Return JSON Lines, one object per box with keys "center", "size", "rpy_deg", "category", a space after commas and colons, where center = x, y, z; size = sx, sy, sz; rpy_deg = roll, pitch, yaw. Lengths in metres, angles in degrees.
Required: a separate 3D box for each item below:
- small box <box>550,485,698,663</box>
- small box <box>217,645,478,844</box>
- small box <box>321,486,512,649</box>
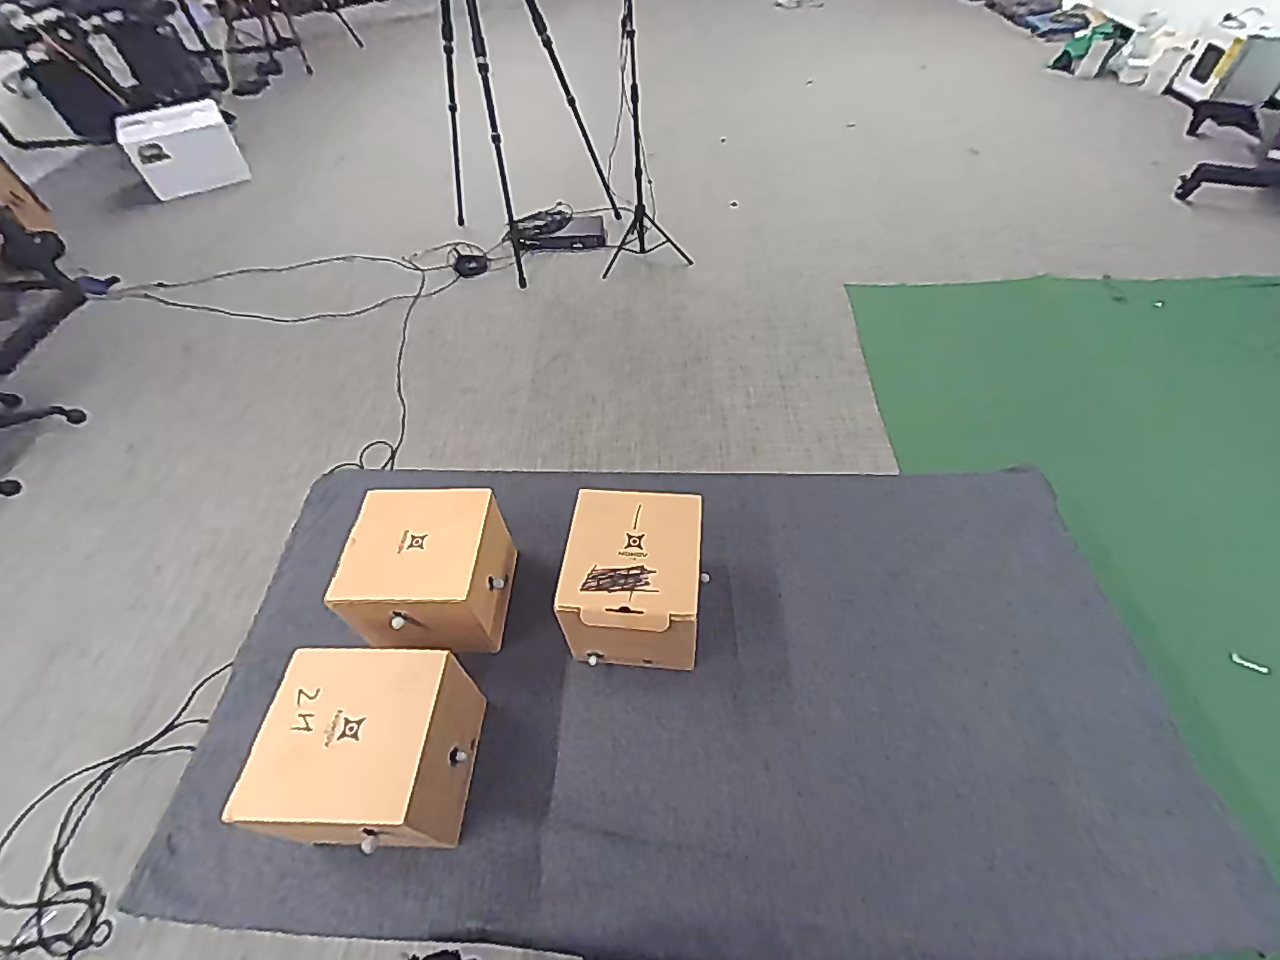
{"center": [-0.010, 0.129, 0.722], "size": [0.168, 0.176, 0.179], "rpy_deg": [3, 52, 6], "category": "small box"}
{"center": [-0.298, 0.297, 0.604], "size": [0.179, 0.176, 0.168], "rpy_deg": [0, 50, 3], "category": "small box"}
{"center": [-0.287, 0.124, 0.745], "size": [0.179, 0.176, 0.168], "rpy_deg": [-2, 52, 3], "category": "small box"}
